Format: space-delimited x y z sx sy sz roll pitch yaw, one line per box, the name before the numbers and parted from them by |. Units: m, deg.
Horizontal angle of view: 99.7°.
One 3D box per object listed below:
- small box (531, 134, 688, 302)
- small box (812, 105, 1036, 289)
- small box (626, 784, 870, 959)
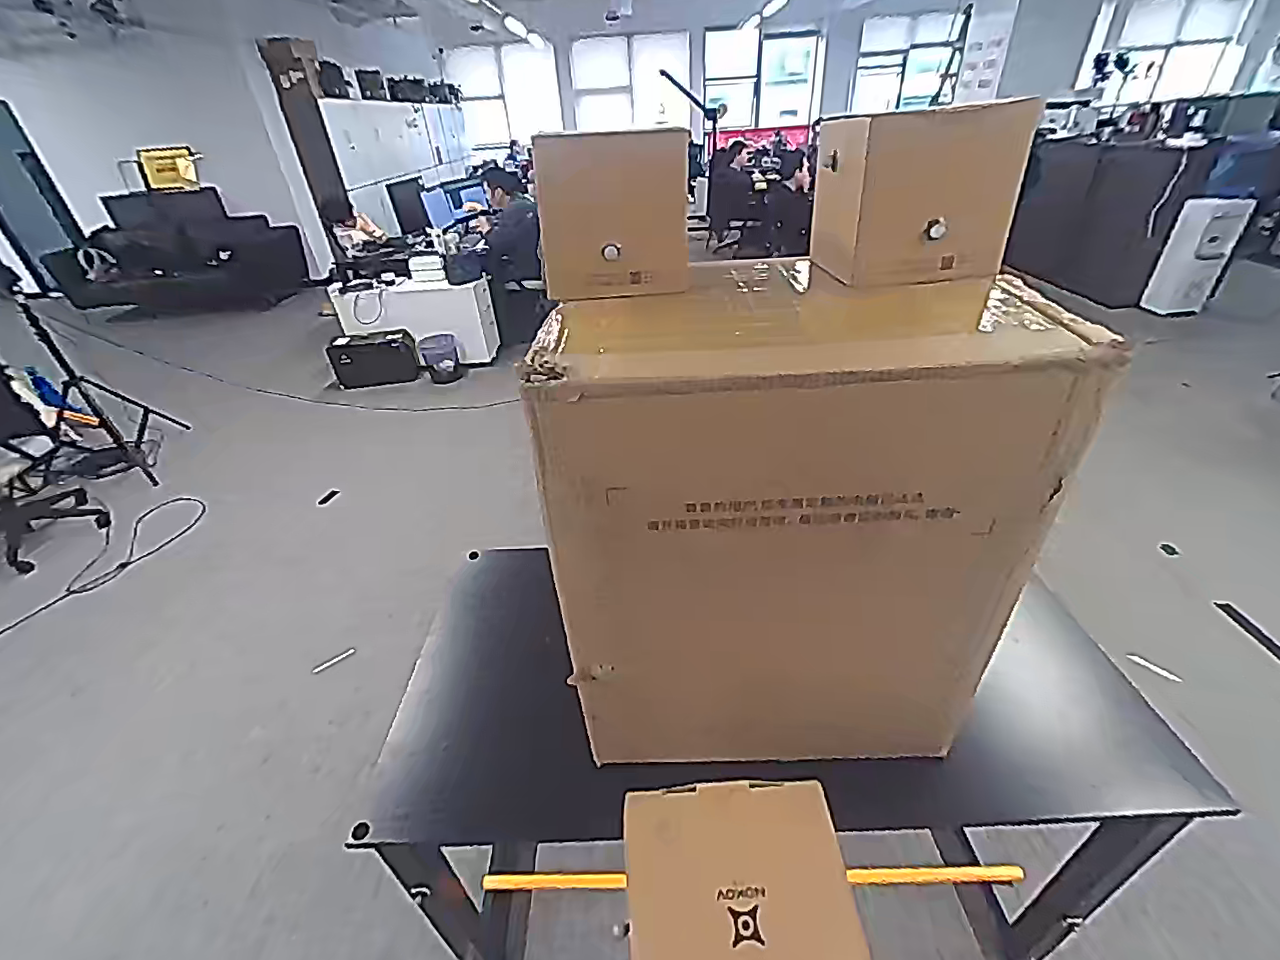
small box | -0.037 -0.326 0.670 0.168 0.176 0.179 -5 33 -4
small box | 0.312 -0.332 0.642 0.168 0.176 0.179 -5 32 2
small box | 0.073 0.372 0.438 0.168 0.176 0.179 -2 43 -3
